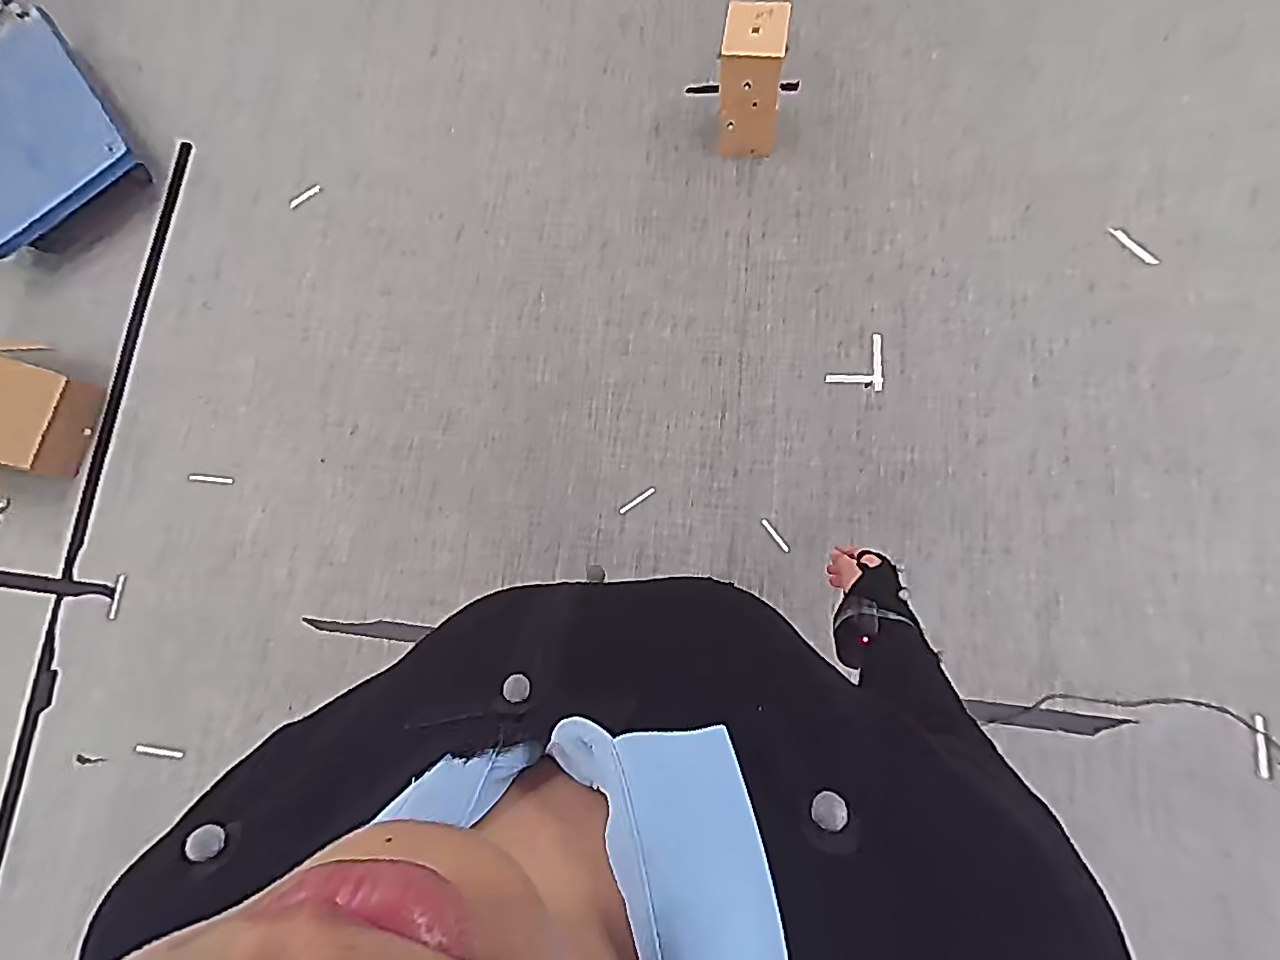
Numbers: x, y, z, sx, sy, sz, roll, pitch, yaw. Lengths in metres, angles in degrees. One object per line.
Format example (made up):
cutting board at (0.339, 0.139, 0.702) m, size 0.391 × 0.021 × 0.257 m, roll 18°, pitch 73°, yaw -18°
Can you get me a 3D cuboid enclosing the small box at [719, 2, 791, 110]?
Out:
small box at (0.312, -1.166, 1.497) m, size 0.168 × 0.176 × 0.179 m, roll 9°, pitch 79°, yaw 7°
